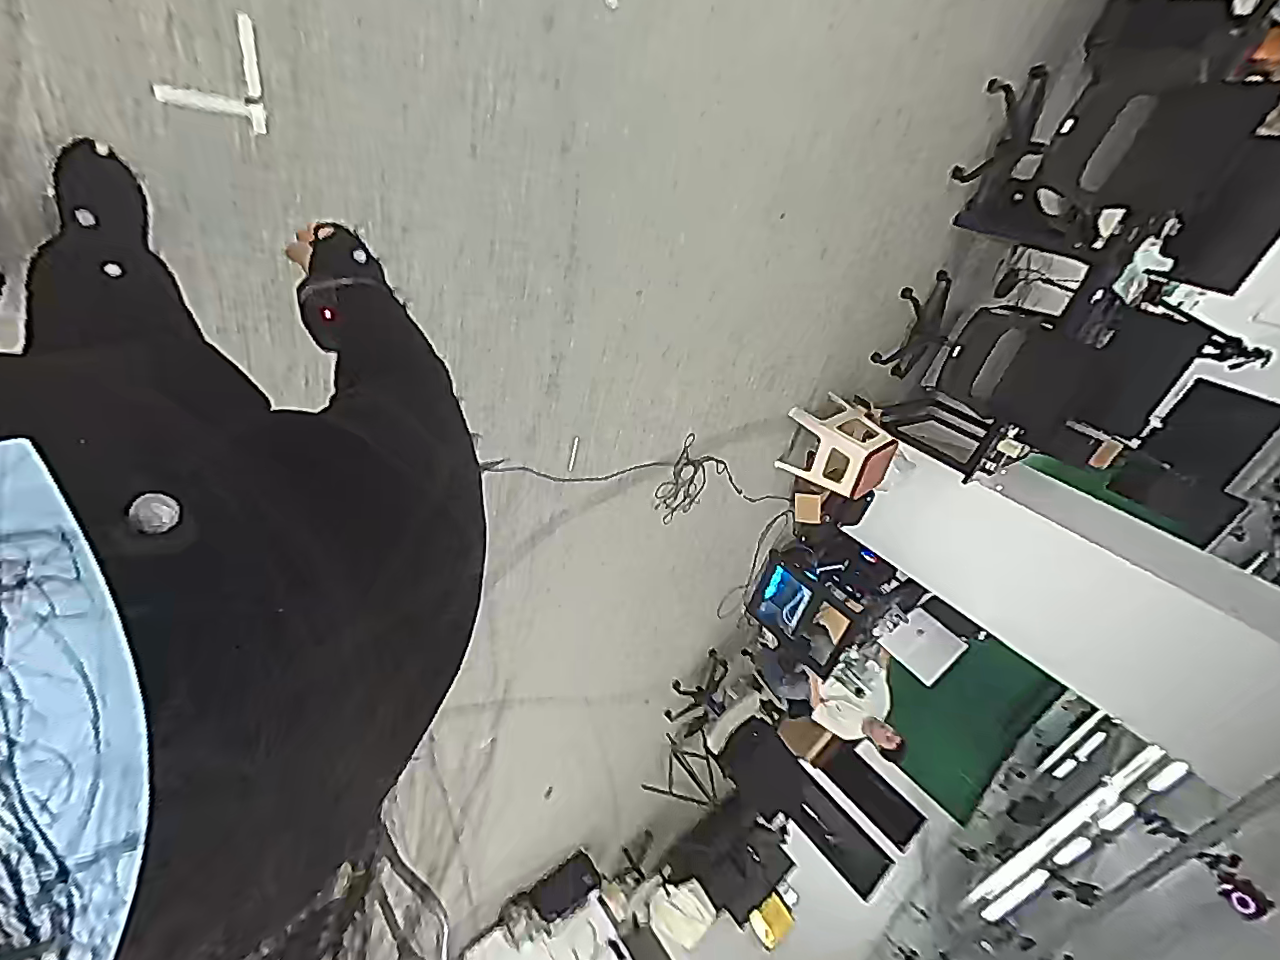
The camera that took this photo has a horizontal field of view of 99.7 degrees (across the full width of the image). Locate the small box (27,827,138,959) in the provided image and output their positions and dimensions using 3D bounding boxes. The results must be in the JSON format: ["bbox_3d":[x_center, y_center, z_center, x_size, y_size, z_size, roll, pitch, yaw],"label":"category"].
[{"bbox_3d":[-1.350,0.997,1.315,0.168,0.176,0.179,-11,129,-43],"label":"small box"}]
